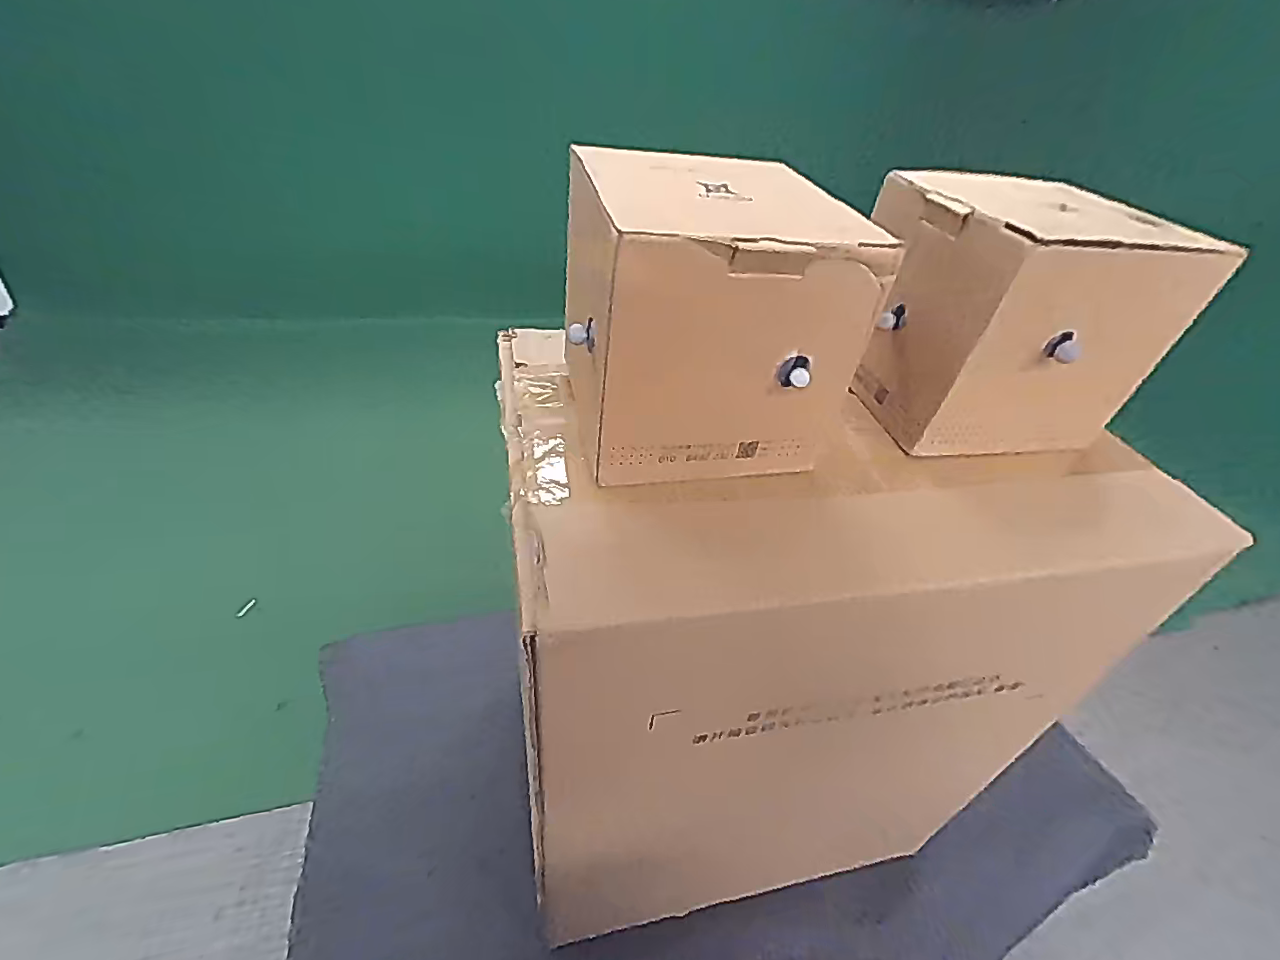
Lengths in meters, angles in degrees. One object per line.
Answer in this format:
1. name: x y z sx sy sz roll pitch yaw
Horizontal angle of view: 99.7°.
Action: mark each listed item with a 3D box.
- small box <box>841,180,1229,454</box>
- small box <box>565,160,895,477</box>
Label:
1. small box: 0.287 -0.134 0.451 0.179 0.176 0.168 -4 43 -12
2. small box: 0.038 -0.113 0.392 0.168 0.176 0.179 -4 41 -15
